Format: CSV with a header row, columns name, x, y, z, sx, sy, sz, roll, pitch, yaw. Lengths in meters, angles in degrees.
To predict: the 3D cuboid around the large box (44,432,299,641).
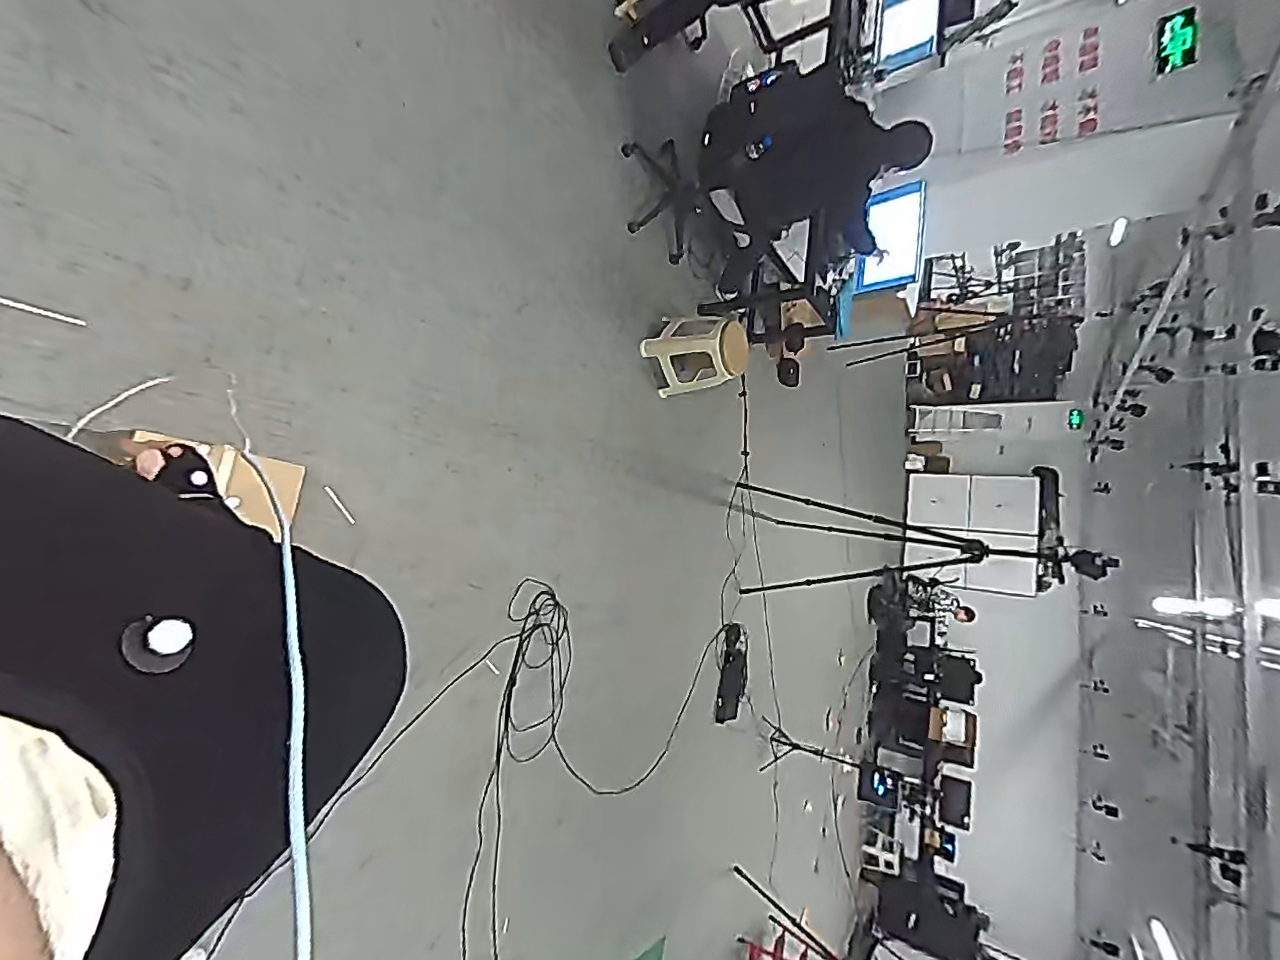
name,x,y,z,sx,sy,sz,roll,pitch,yaw
large box,-1.041,0.119,1.216,0.320,0.320,0.408,20,76,-53
